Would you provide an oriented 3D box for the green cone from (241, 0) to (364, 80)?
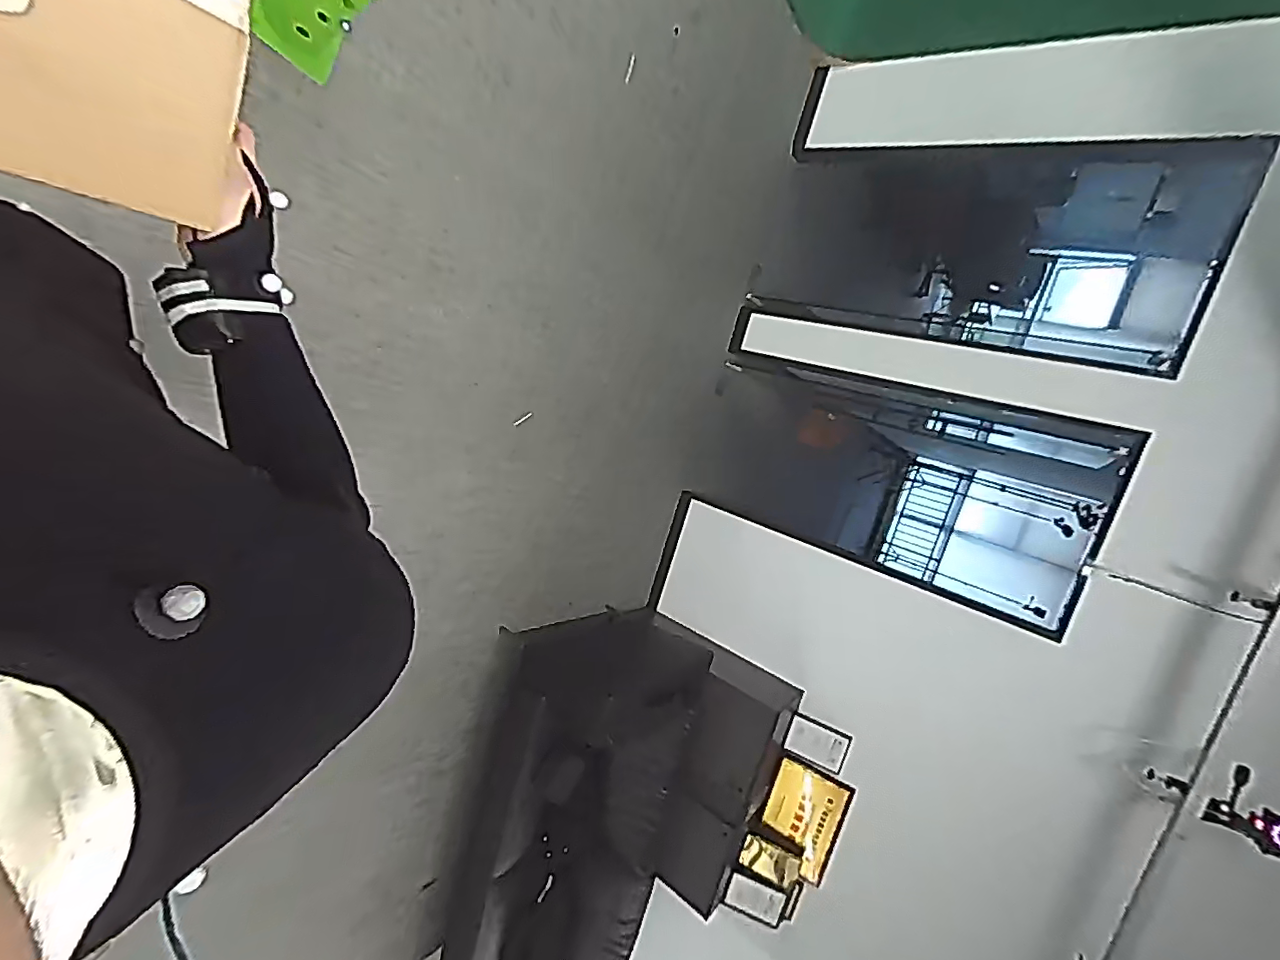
[{"bbox_3d":[-0.674,-1.037,1.162,0.200,0.368,0.202,17,93,-57],"label":"green cone"}]
